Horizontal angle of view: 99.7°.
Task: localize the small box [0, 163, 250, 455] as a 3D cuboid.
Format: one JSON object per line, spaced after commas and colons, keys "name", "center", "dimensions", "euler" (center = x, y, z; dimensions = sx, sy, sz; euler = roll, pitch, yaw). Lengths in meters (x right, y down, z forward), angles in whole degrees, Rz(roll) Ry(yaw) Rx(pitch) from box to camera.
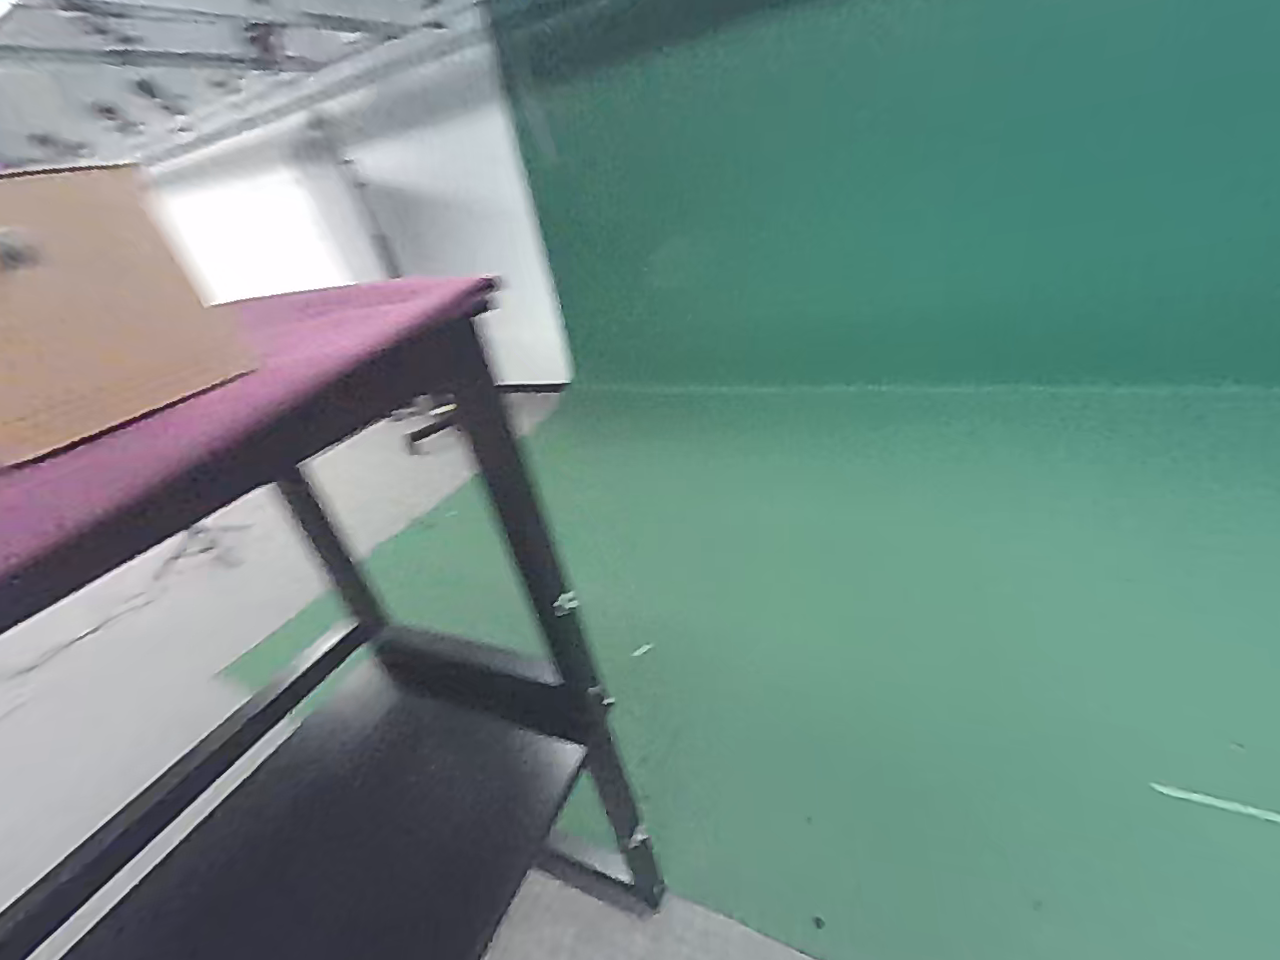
{"name": "small box", "center": [-0.471, -0.130, 0.429], "dimensions": [0.168, 0.176, 0.179], "euler": [3, 33, 28]}
